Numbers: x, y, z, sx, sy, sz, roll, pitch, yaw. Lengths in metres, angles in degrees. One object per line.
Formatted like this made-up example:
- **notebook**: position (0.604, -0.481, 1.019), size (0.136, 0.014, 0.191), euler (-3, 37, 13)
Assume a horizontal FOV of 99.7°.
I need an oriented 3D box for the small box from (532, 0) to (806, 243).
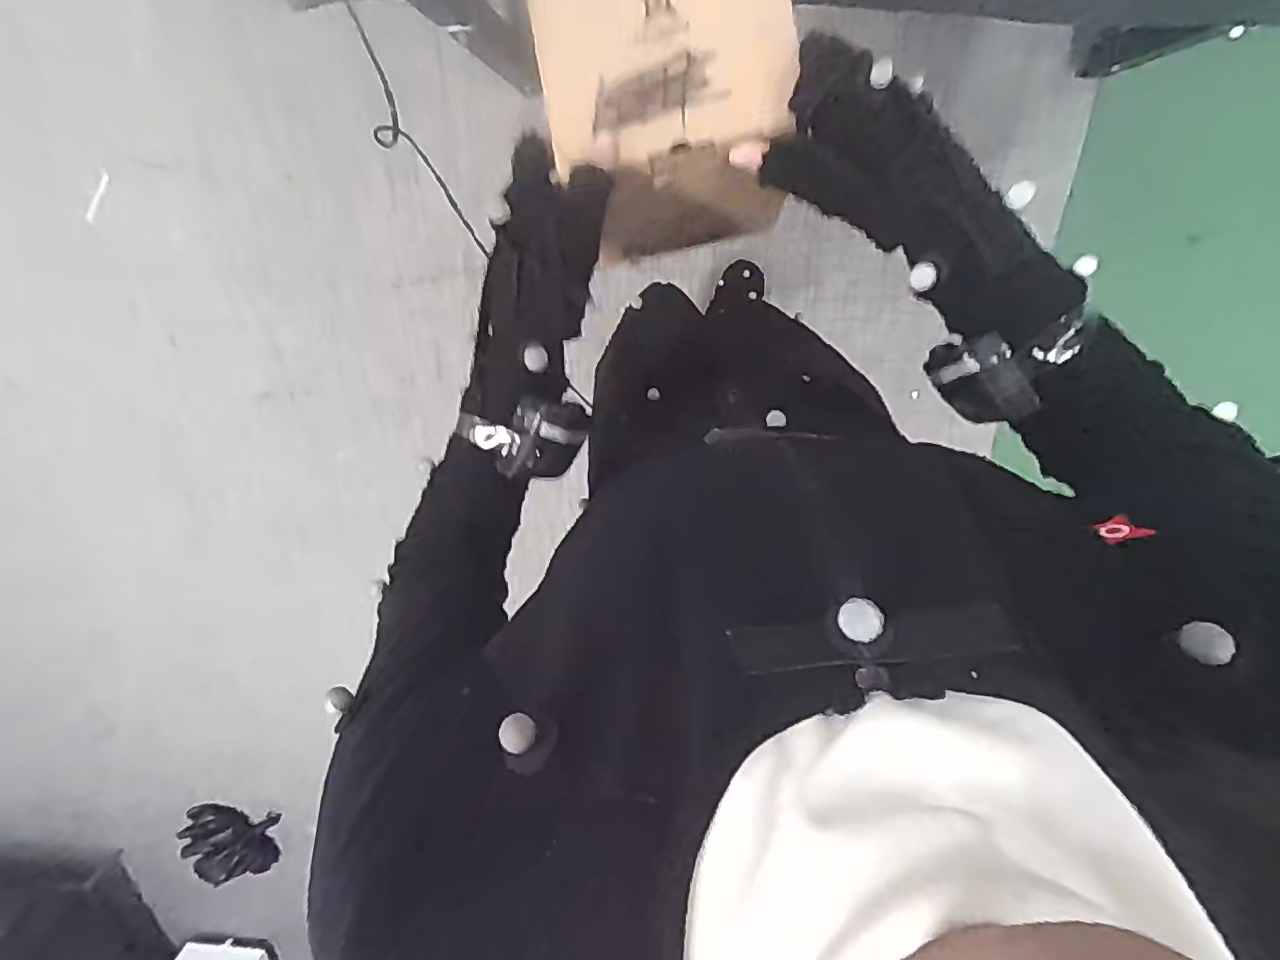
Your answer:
- **small box**: position (0.022, -0.305, 0.421), size (0.168, 0.176, 0.179), euler (-9, 92, 6)
